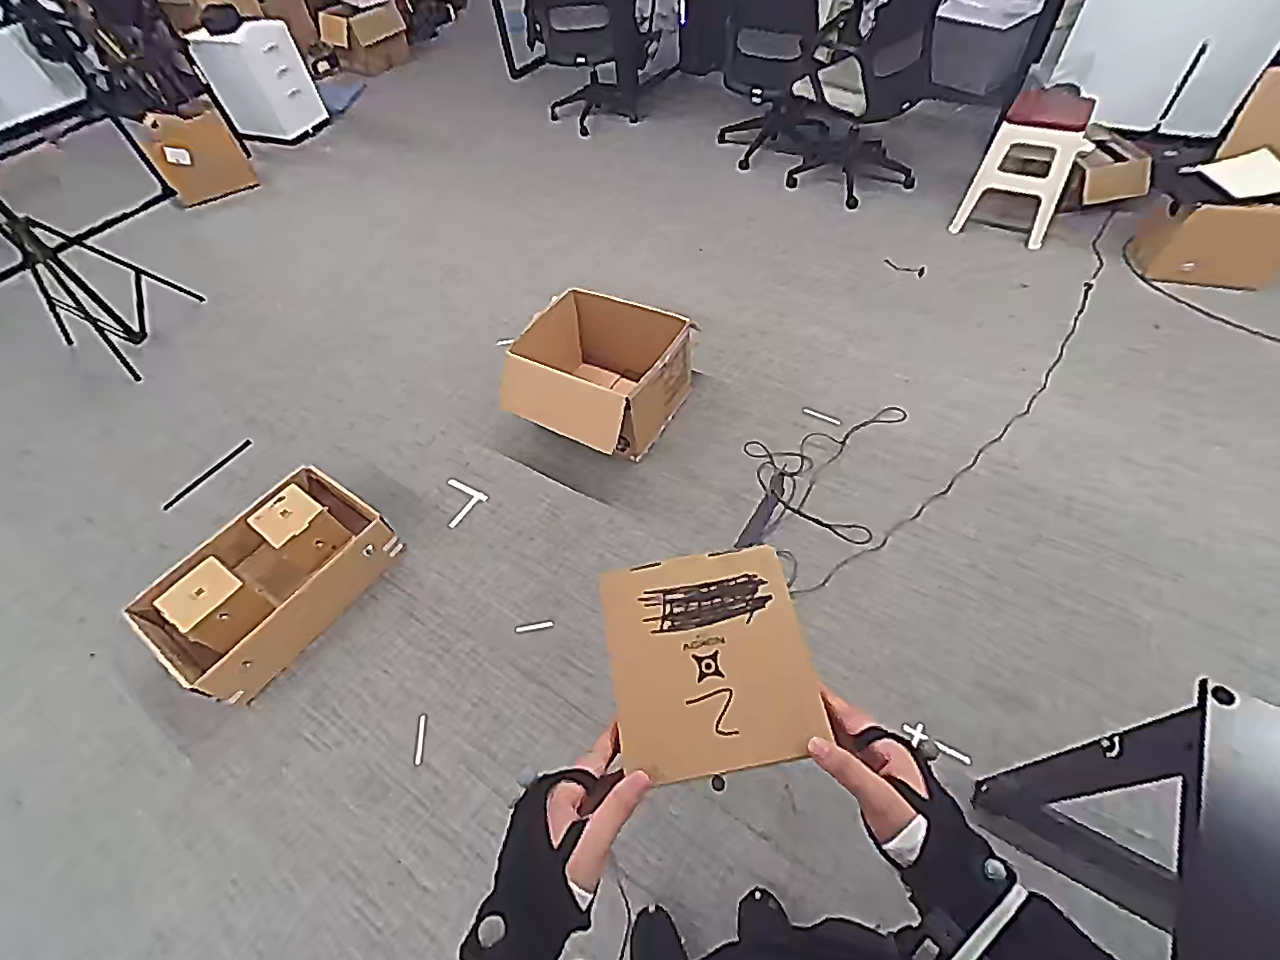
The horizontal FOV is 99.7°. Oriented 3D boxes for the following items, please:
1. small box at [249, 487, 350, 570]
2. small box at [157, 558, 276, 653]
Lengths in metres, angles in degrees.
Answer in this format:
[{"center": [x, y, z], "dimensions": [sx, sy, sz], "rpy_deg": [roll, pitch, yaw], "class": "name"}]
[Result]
[{"center": [-1.053, 0.159, 1.687], "dimensions": [0.179, 0.176, 0.168], "rpy_deg": [30, 63, 23], "class": "small box"}, {"center": [-1.204, 0.365, 1.551], "dimensions": [0.168, 0.176, 0.179], "rpy_deg": [27, 59, 21], "class": "small box"}]
